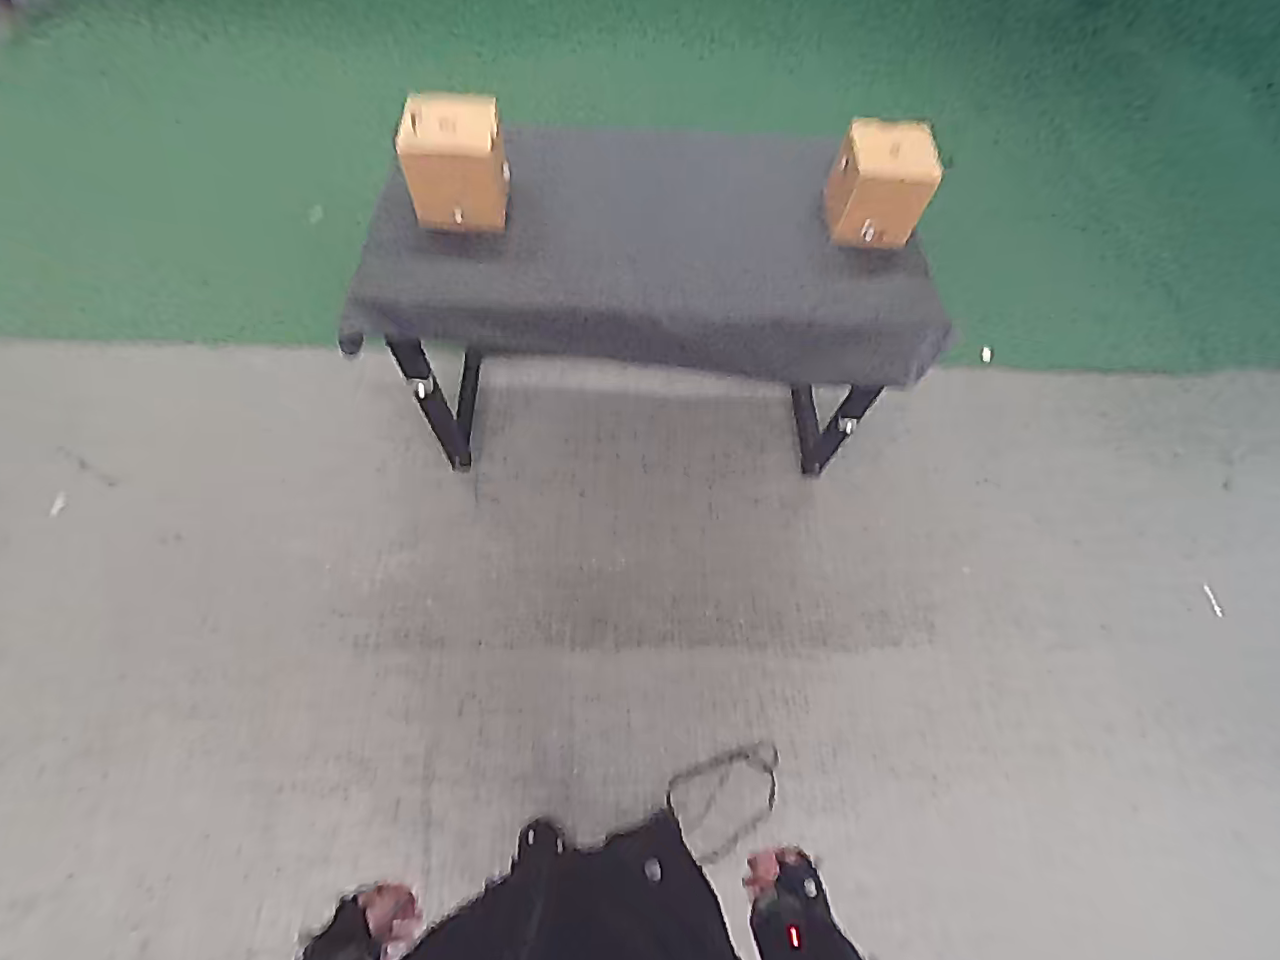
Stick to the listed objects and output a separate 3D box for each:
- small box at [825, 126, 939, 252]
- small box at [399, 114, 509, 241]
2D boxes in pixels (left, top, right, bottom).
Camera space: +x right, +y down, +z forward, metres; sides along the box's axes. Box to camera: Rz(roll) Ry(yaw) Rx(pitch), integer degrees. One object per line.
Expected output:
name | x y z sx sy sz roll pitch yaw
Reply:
small box | 0.512 -0.628 1.172 0.168 0.176 0.179 5 62 1
small box | -0.376 -0.624 1.130 0.179 0.176 0.168 1 62 -5
